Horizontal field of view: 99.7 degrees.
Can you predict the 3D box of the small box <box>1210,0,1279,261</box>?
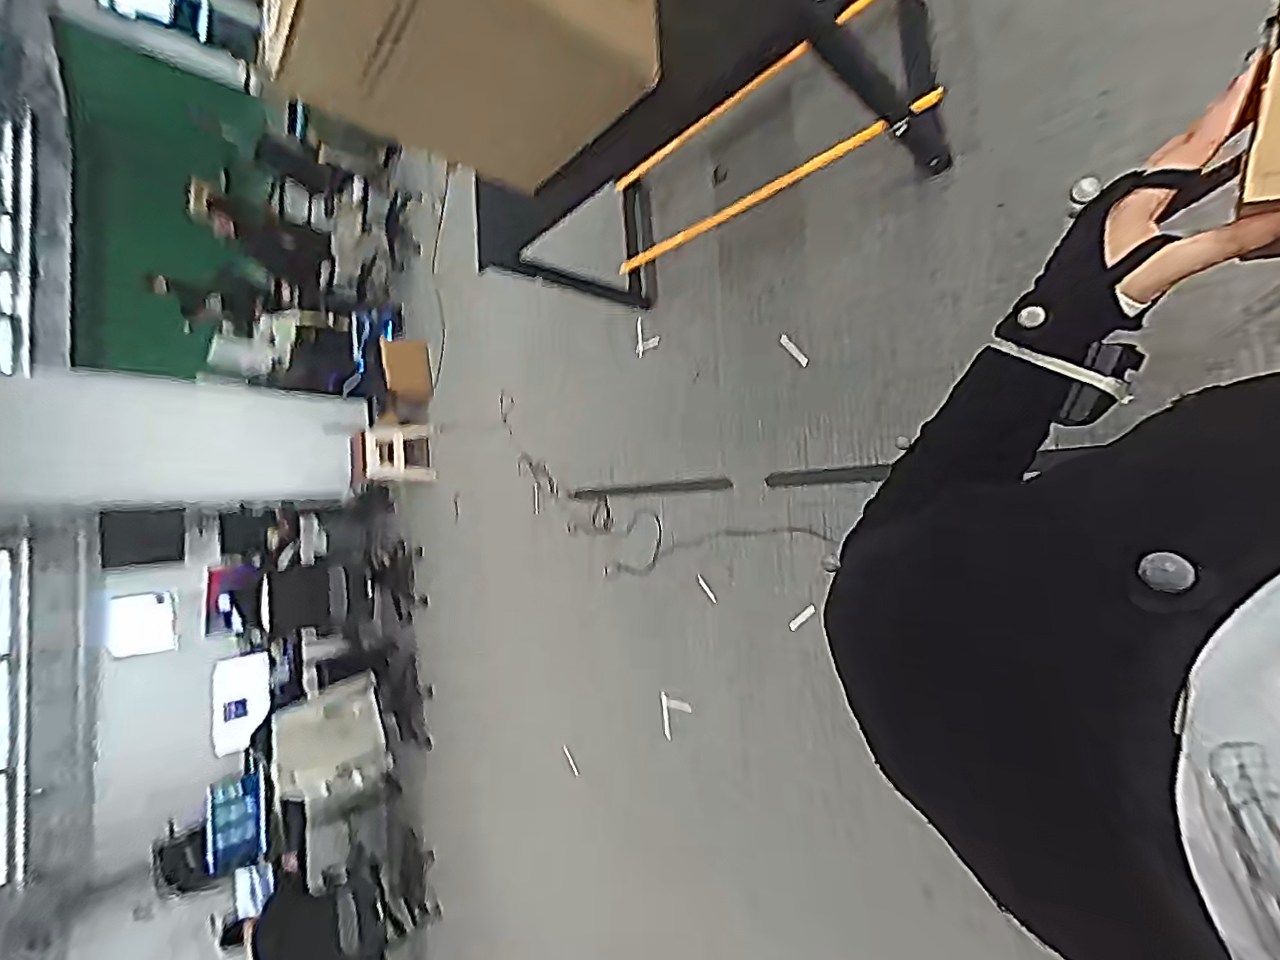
[{"bbox_3d":[0.435,-0.222,0.277,0.179,0.176,0.168,10,103,47],"label":"small box"}]
